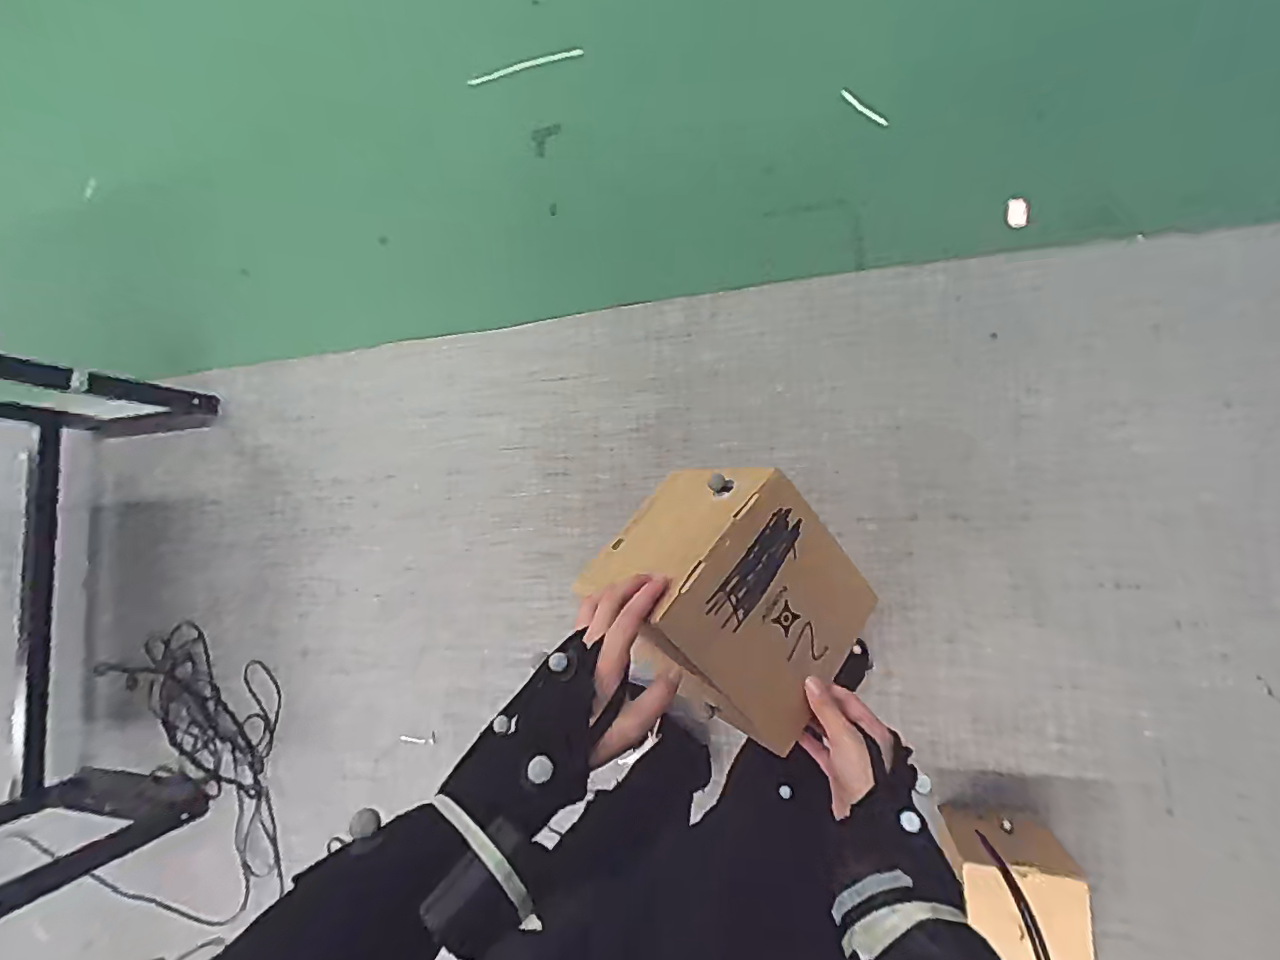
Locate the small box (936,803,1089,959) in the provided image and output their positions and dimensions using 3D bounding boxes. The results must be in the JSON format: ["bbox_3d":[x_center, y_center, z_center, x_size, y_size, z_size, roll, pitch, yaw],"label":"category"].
[{"bbox_3d":[0.597,0.670,0.885,0.168,0.176,0.179,-3,85,17],"label":"small box"}]
